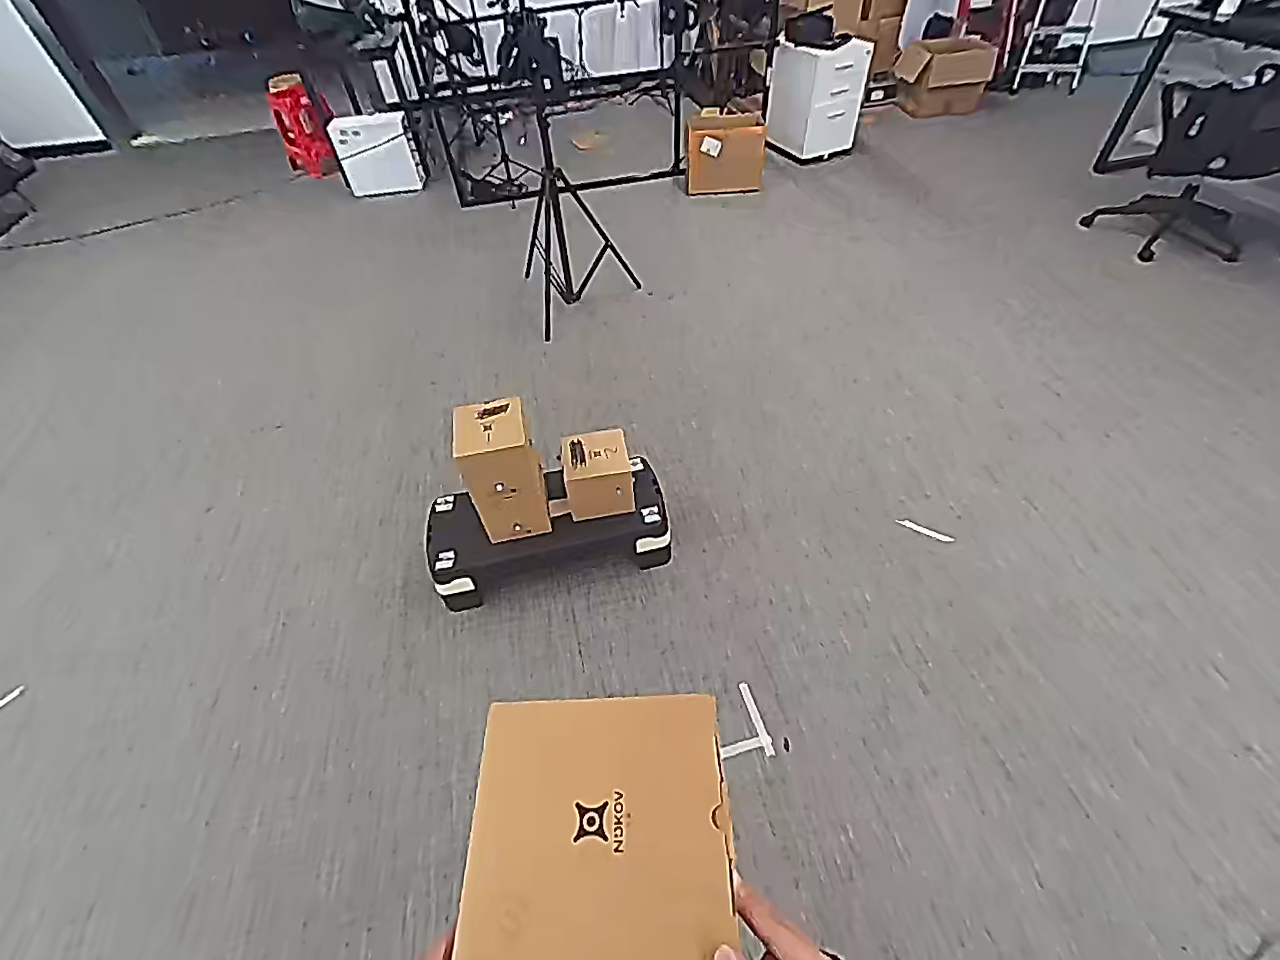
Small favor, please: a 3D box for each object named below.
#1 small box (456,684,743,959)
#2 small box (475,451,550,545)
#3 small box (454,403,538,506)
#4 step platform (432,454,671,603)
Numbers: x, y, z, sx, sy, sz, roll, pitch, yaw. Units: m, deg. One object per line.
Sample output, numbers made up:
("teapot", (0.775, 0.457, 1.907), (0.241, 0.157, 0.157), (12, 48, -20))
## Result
("small box", (-0.020, 0.276, 0.431), (0.179, 0.176, 0.168), (-3, 50, 2))
("small box", (-0.342, 0.049, 1.460), (0.168, 0.176, 0.179), (-11, 48, -5))
("small box", (-0.354, -0.063, 1.340), (0.168, 0.176, 0.179), (-11, 49, -6))
("step platform", (-0.256, 0.135, 1.610), (0.684, 0.204, 0.286), (-13, 48, -6))
